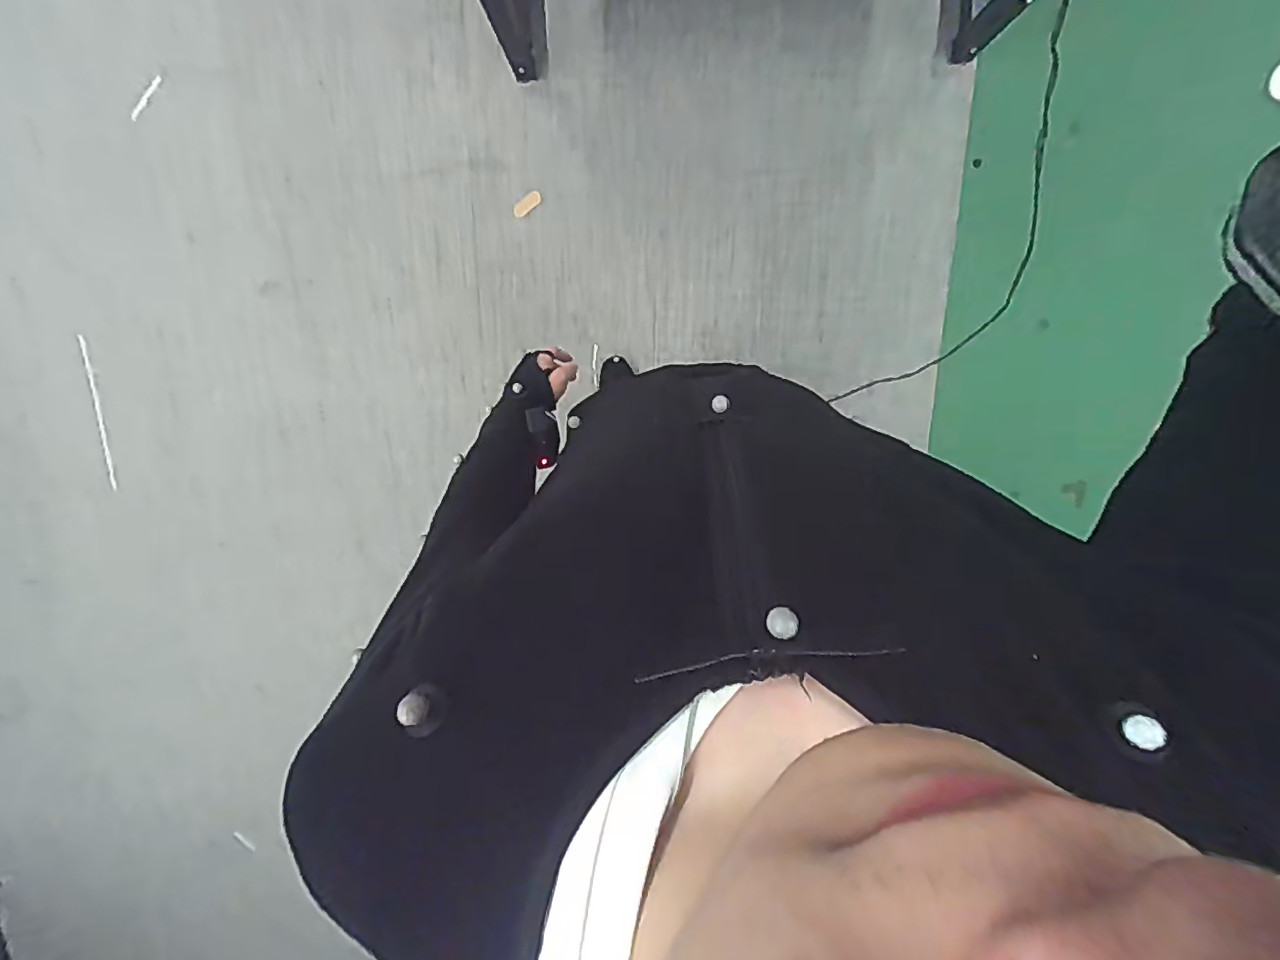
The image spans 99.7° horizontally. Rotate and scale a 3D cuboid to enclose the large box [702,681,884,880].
[{"bbox_3d":[0.448,0.909,1.671,0.408,0.320,0.320,-31,100,6],"label":"large box"}]
